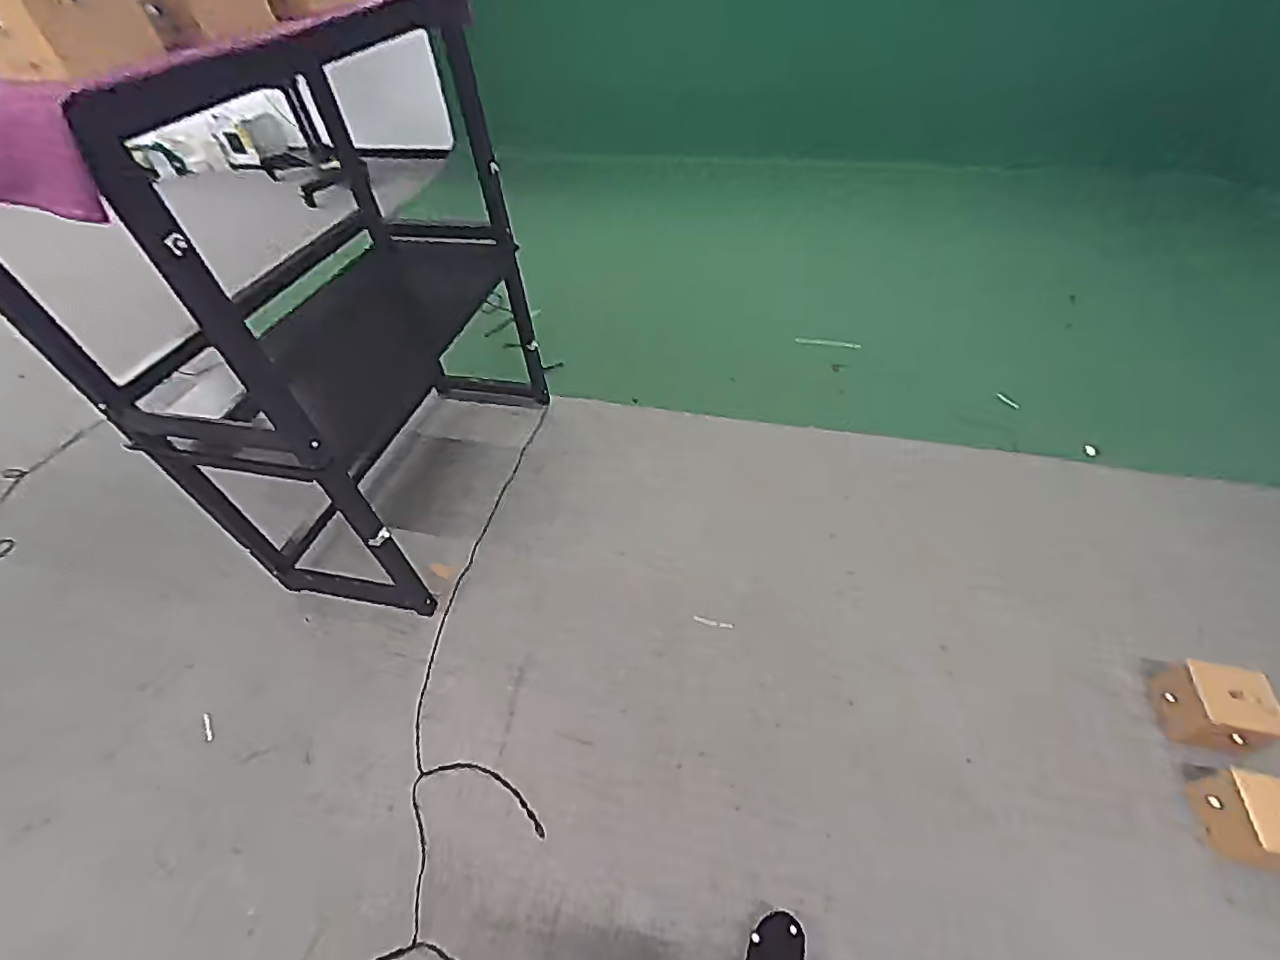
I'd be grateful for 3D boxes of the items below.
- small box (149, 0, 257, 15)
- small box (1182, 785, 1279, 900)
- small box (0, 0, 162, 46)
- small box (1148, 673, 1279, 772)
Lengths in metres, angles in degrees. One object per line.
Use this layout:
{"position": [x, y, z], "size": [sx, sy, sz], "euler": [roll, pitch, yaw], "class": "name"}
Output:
{"position": [-0.818, -0.973, 0.981], "size": [0.168, 0.176, 0.179], "euler": [13, 52, 15], "class": "small box"}
{"position": [1.396, 0.825, 1.225], "size": [0.179, 0.176, 0.168], "euler": [11, 50, 12], "class": "small box"}
{"position": [-0.890, -0.767, 0.804], "size": [0.168, 0.176, 0.179], "euler": [12, 50, 13], "class": "small box"}
{"position": [1.469, 0.628, 1.392], "size": [0.179, 0.176, 0.168], "euler": [11, 51, 12], "class": "small box"}
